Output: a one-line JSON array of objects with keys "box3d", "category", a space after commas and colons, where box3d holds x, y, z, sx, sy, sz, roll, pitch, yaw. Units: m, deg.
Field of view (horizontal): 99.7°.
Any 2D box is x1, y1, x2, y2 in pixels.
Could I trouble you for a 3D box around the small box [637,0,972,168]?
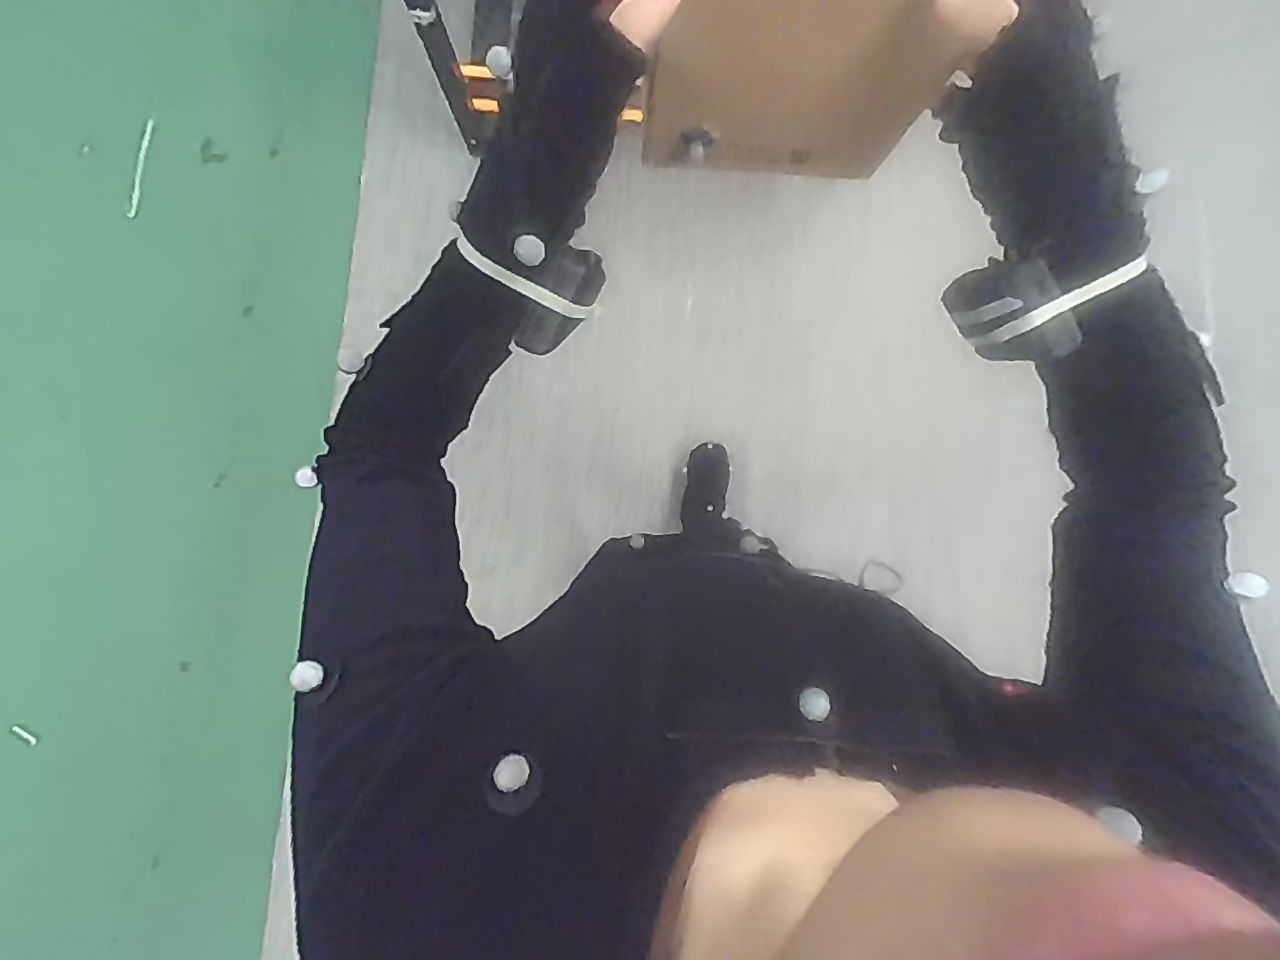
[{"box3d": [0.087, -0.312, 0.309, 0.168, 0.176, 0.179, 1, 84, -5], "category": "small box"}]
